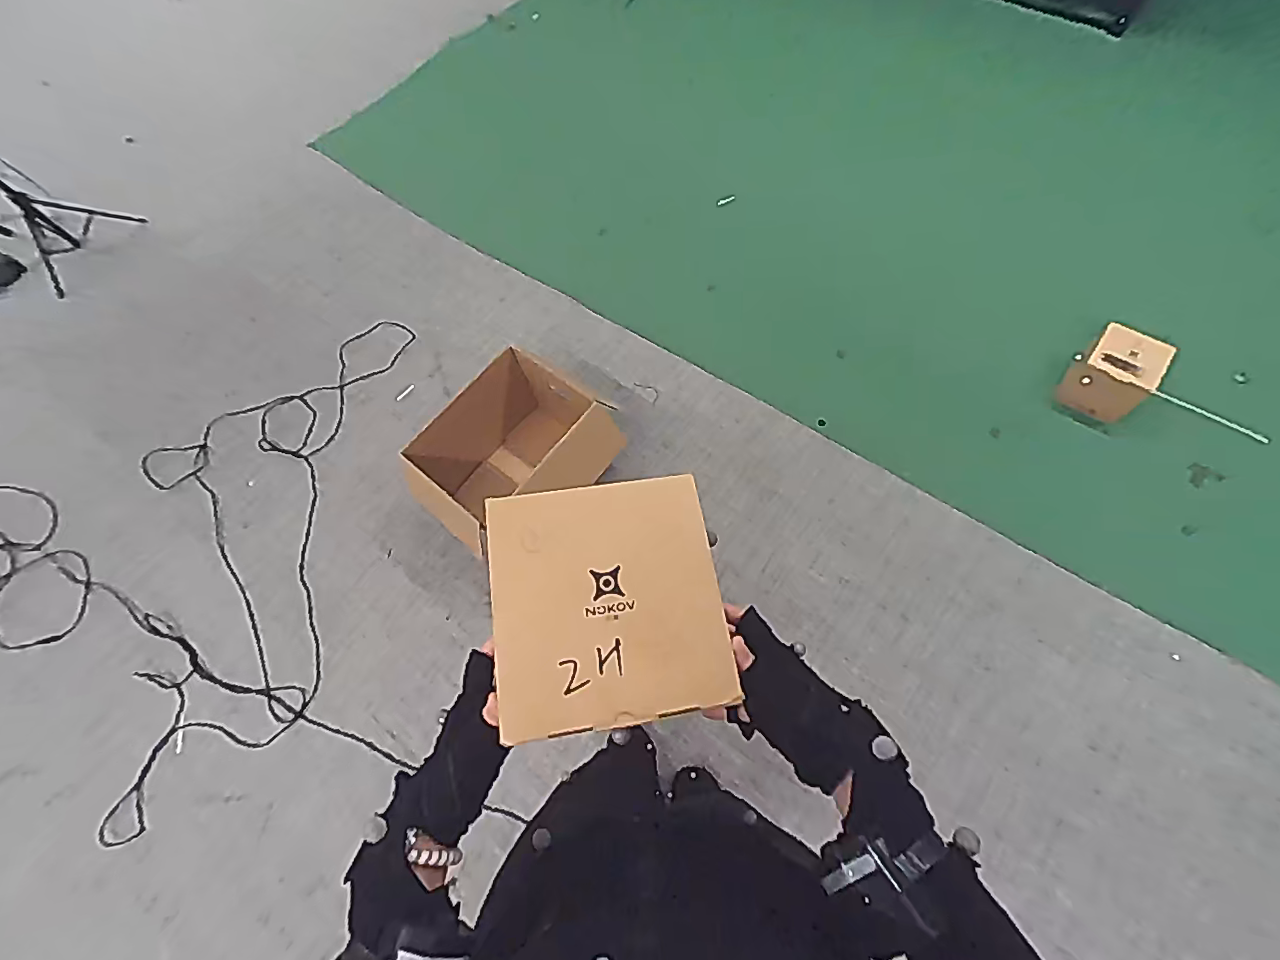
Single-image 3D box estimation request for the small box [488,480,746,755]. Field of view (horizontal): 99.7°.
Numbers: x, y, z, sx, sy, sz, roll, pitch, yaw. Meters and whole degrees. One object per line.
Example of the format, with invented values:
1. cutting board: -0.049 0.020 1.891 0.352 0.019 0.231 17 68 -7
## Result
1. small box: -0.028 0.118 0.453 0.168 0.176 0.179 -7 68 -7
